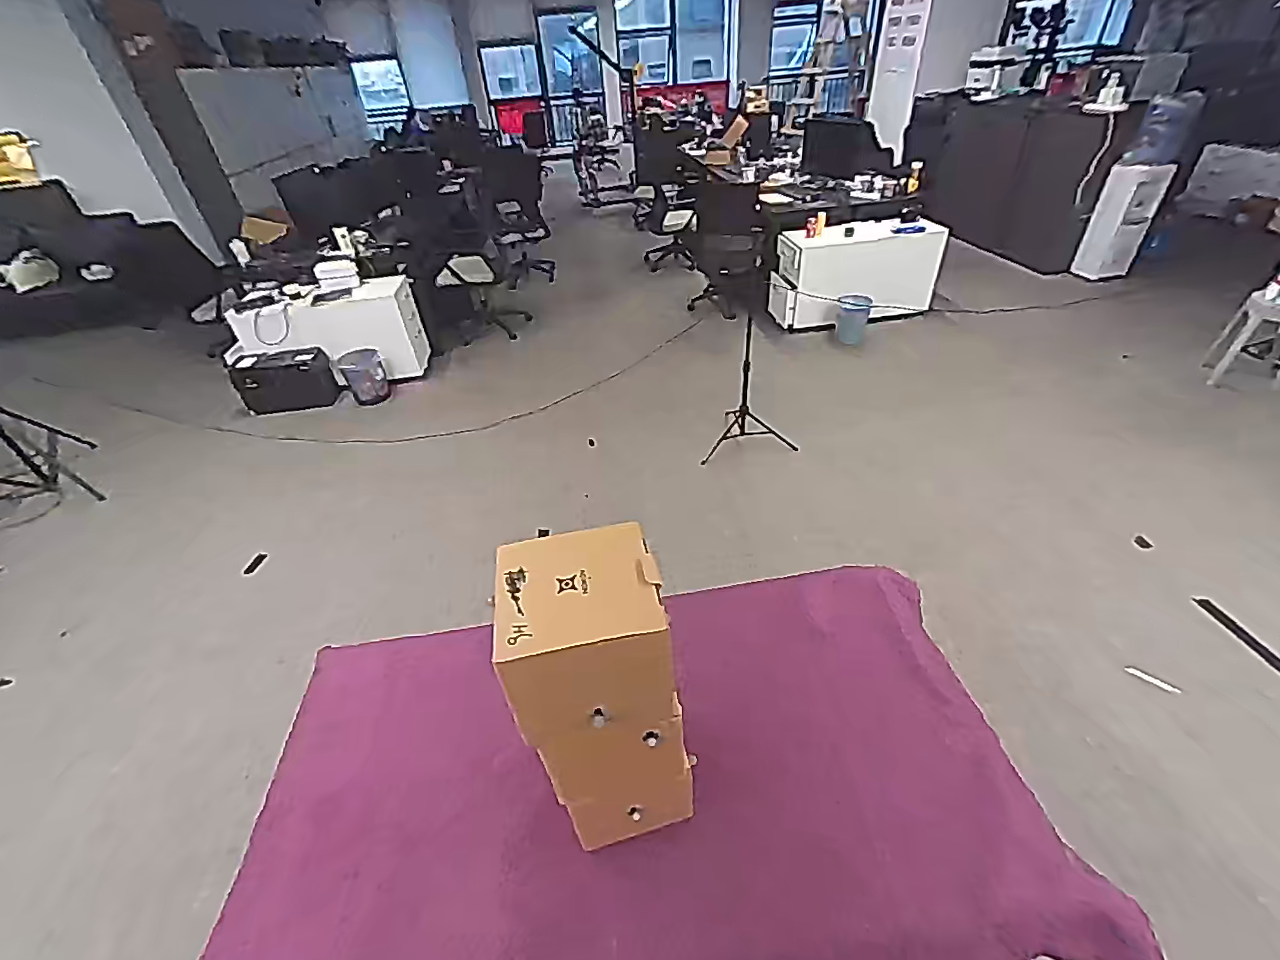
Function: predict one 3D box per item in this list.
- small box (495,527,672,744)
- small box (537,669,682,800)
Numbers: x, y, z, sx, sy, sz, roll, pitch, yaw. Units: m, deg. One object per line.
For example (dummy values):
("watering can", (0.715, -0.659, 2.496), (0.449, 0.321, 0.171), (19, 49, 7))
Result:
("small box", (-0.064, 0.181, 0.638), (0.179, 0.176, 0.168), (-8, 37, -6))
("small box", (-0.045, 0.308, 0.741), (0.179, 0.176, 0.168), (-9, 38, -6))
